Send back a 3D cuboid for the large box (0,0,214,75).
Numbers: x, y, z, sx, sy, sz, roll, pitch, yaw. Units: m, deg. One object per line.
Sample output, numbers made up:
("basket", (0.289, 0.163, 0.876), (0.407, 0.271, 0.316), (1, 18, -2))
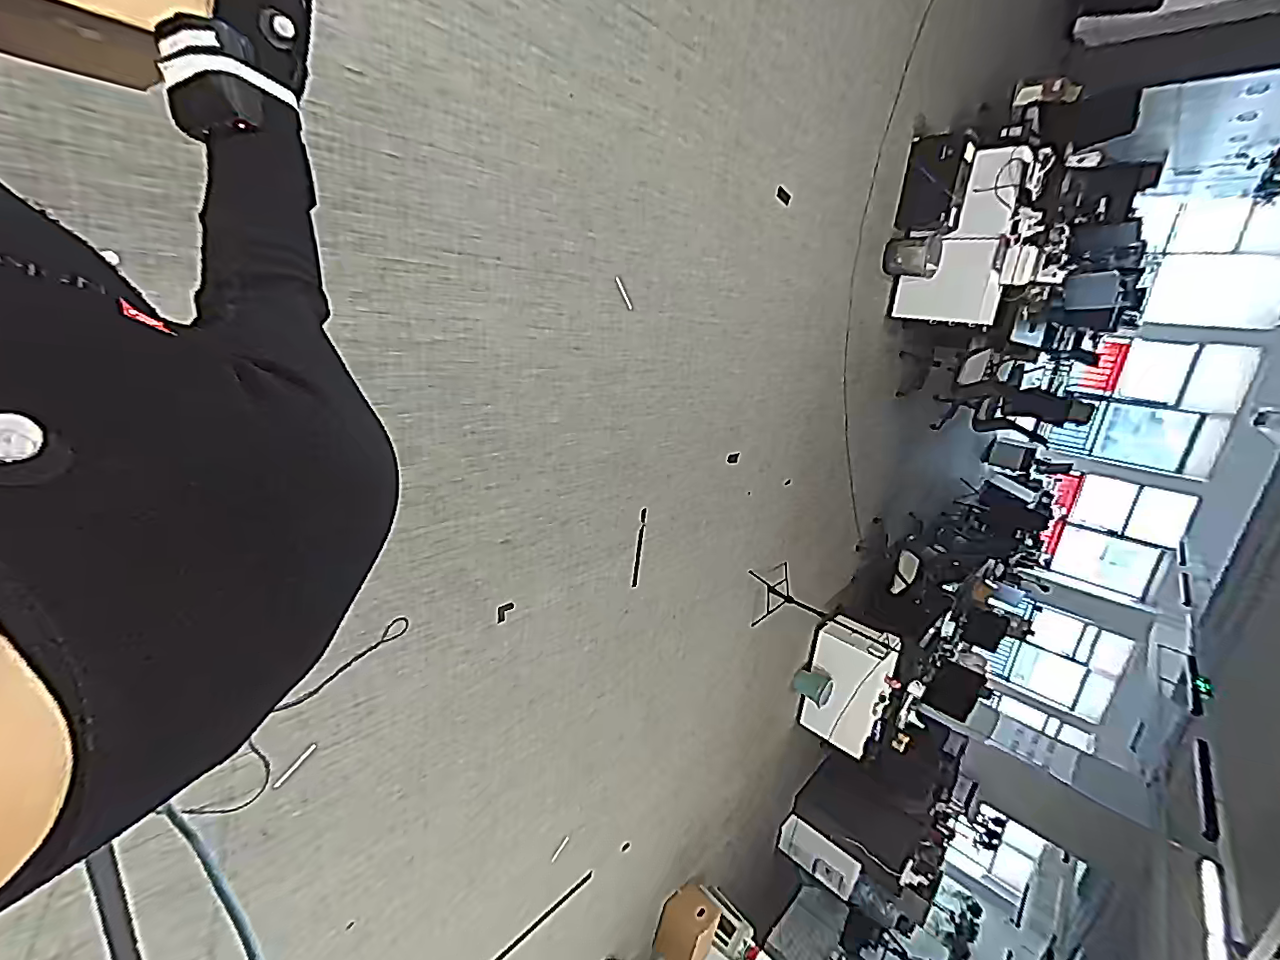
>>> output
("large box", (-0.539, -0.483, 0.294), (0.408, 0.320, 0.320), (-15, 122, -47))
